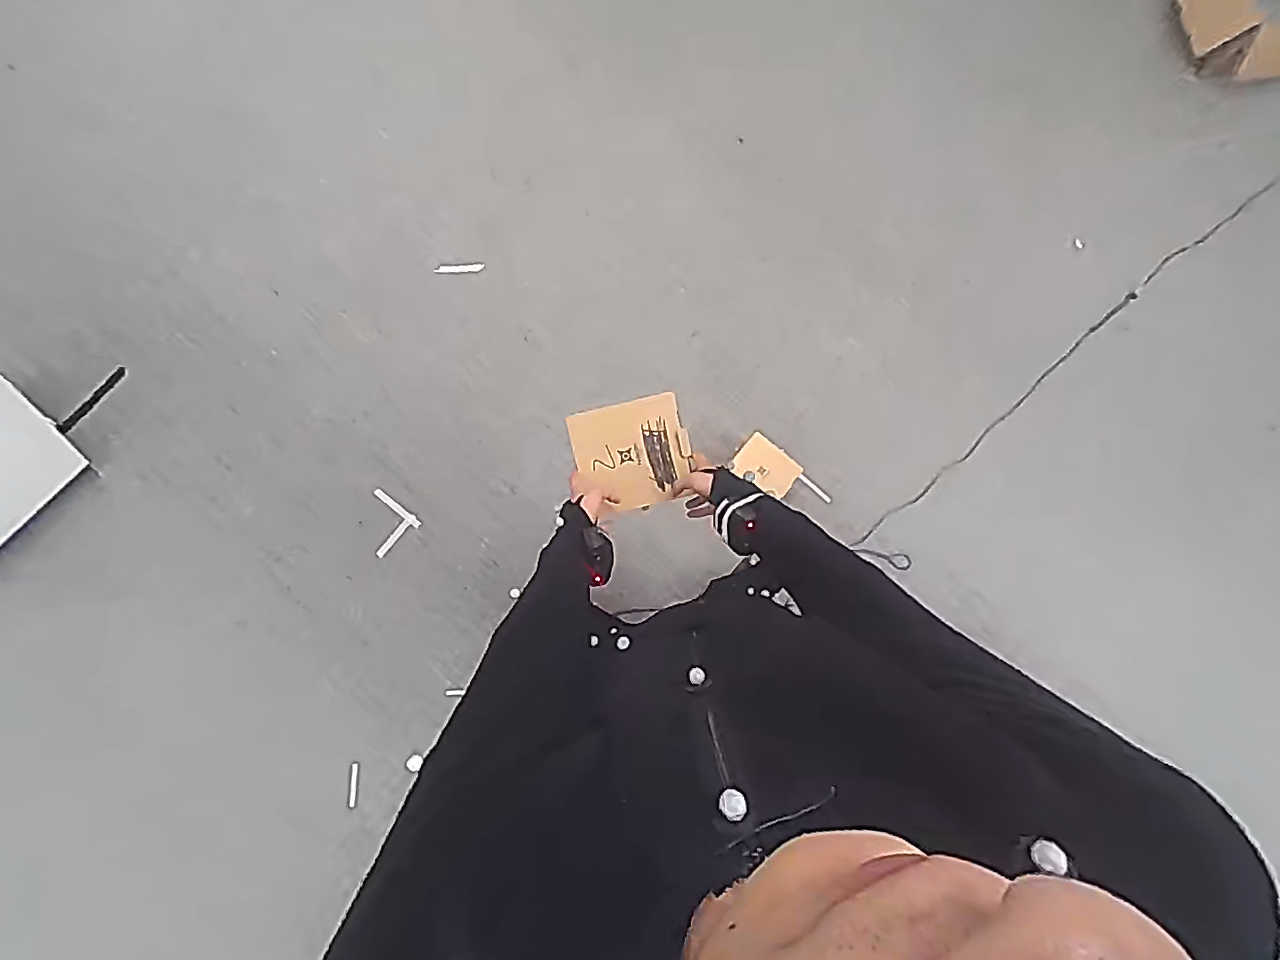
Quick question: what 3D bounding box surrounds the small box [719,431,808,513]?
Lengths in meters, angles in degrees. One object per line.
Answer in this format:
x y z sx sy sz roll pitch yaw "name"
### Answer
0.354 -0.015 1.595 0.179 0.176 0.168 40 84 3 "small box"
